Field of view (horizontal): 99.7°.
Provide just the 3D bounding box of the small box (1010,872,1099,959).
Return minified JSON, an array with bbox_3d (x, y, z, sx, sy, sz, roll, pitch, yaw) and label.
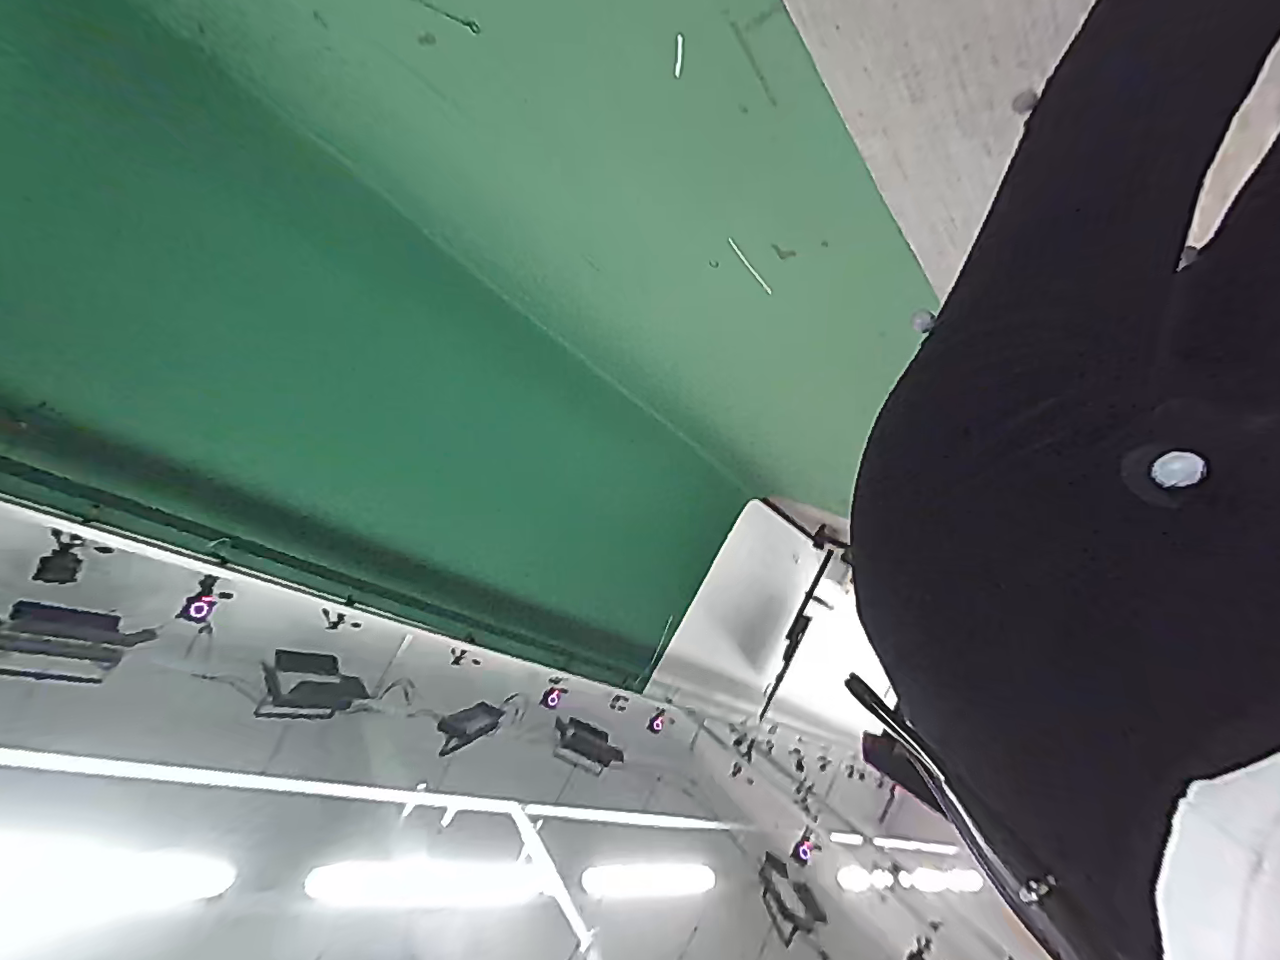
[{"bbox_3d":[1.355,1.425,1.759,0.168,0.176,0.179,34,174,-36],"label":"small box"}]
